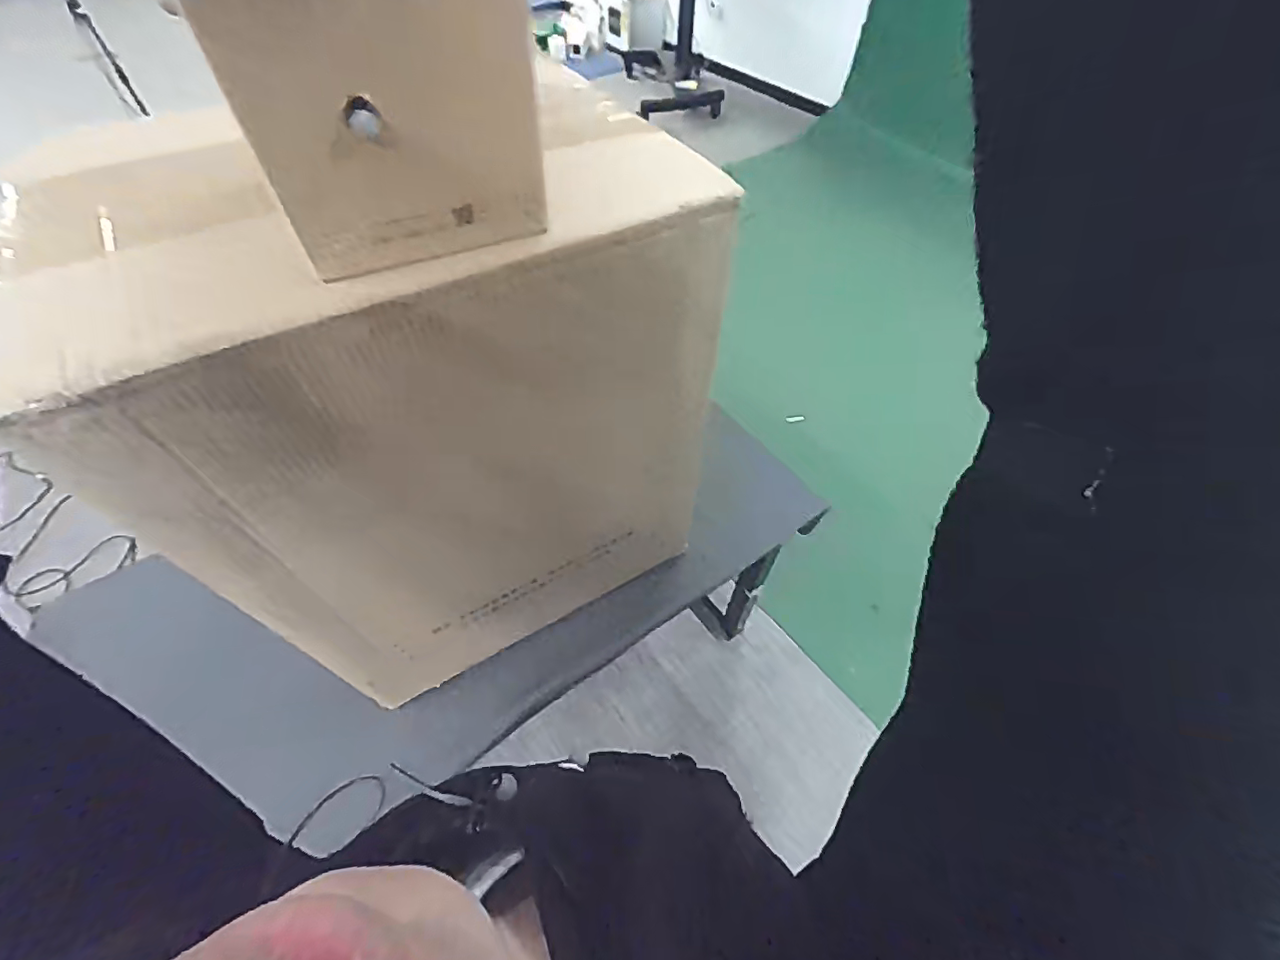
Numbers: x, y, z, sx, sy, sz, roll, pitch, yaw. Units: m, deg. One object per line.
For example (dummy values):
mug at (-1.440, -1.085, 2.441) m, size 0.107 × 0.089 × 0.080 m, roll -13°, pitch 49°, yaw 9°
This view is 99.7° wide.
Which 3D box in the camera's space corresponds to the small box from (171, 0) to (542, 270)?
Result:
small box at (-0.176, -0.264, 0.365) m, size 0.168 × 0.176 × 0.179 m, roll -22°, pitch 59°, yaw -17°
